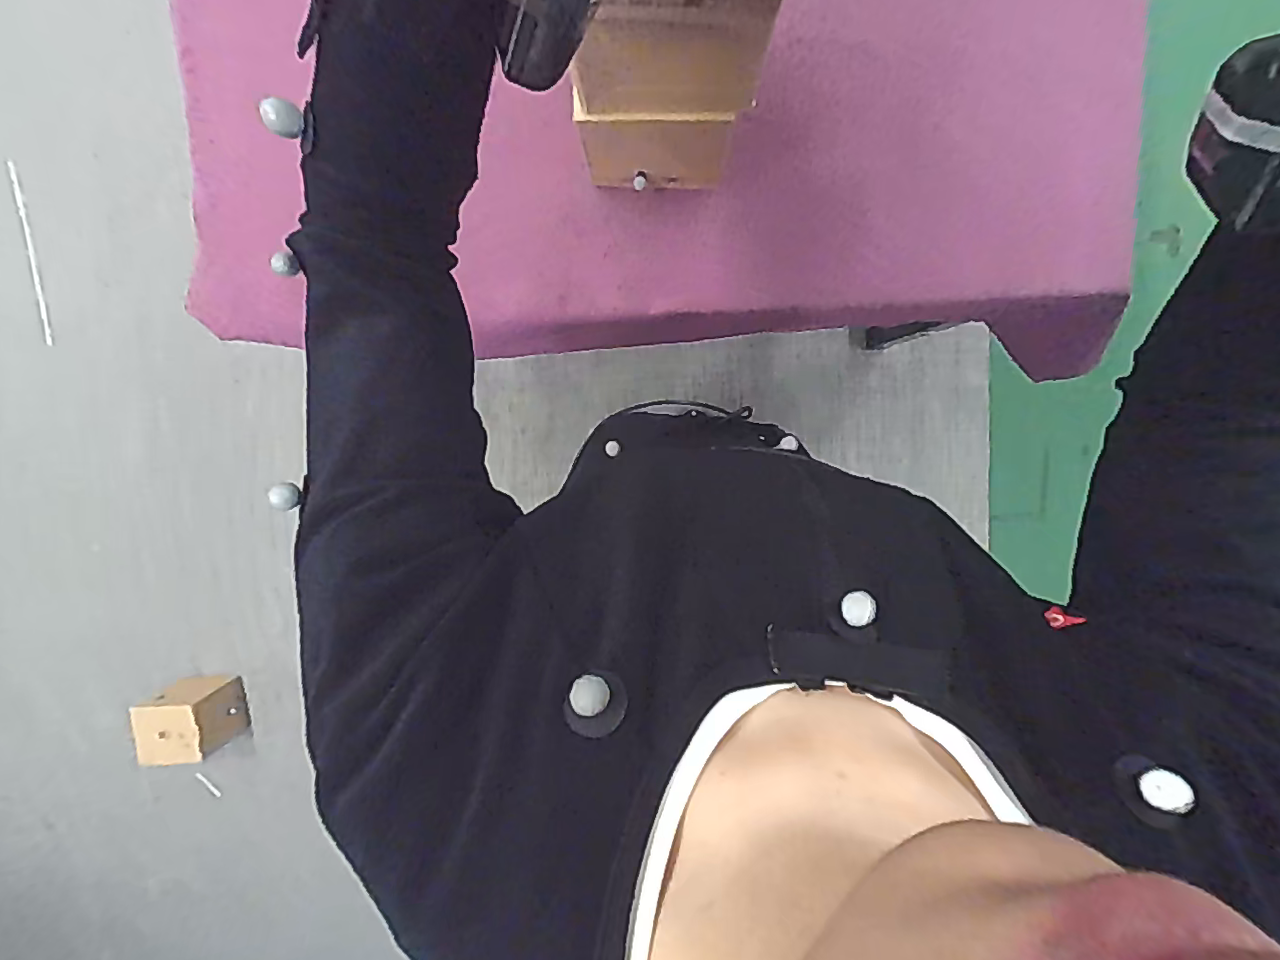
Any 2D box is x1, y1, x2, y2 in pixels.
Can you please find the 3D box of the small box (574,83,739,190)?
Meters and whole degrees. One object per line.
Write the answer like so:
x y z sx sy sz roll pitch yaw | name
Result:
0.021 -0.453 0.607 0.168 0.176 0.179 2 97 2 | small box

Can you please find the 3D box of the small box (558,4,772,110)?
0.022 -0.437 0.446 0.179 0.176 0.168 0 97 2 | small box

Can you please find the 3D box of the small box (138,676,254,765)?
-1.228 0.665 1.506 0.179 0.176 0.168 -4 97 2 | small box
